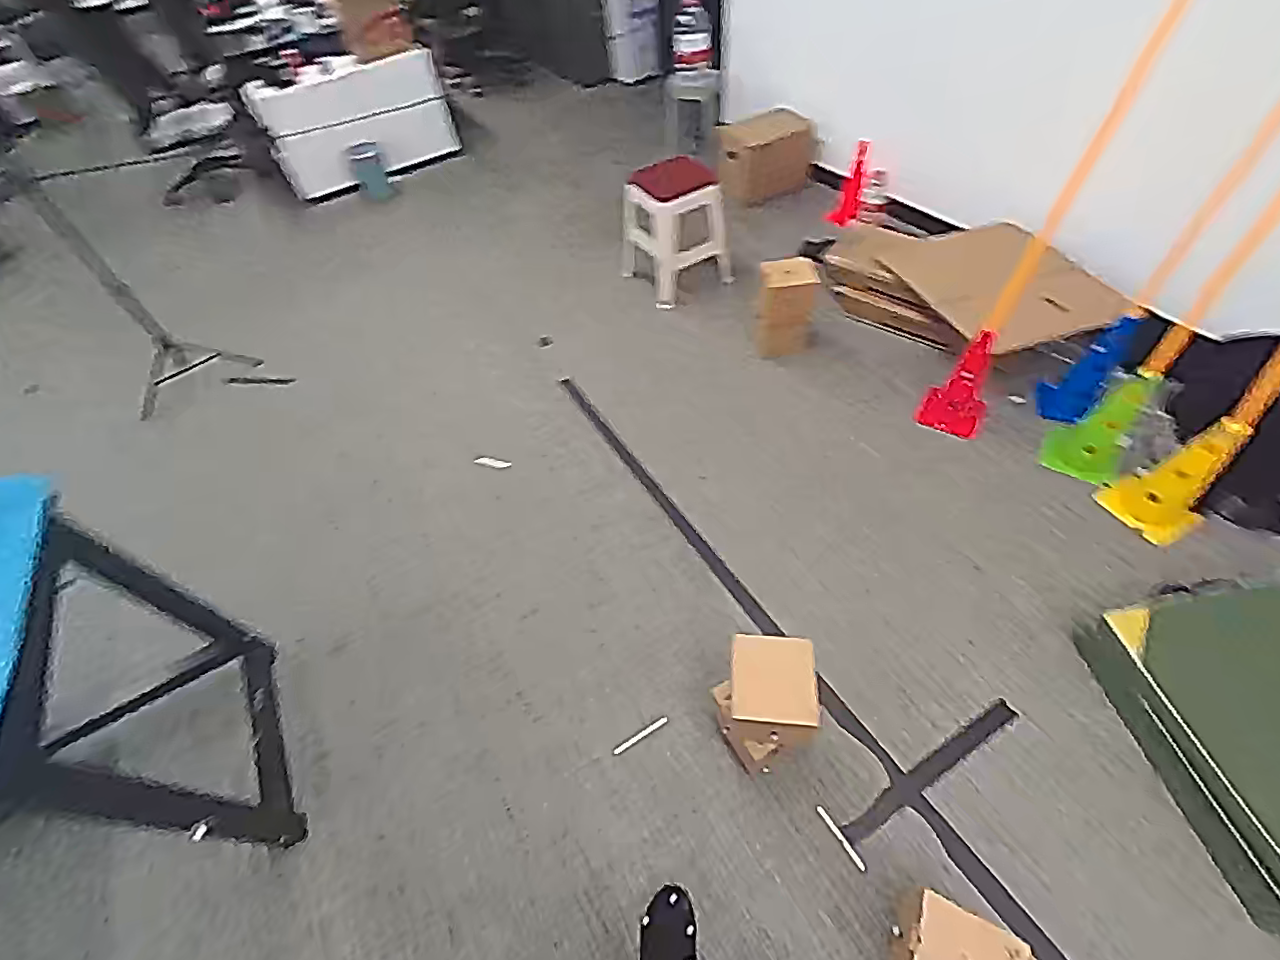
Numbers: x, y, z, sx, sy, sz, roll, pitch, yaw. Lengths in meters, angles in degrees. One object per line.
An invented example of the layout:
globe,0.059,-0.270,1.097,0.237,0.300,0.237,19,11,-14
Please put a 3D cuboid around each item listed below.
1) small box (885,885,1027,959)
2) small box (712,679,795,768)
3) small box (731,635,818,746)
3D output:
small box,0.574,0.893,1.003,0.179,0.176,0.168,21,59,22
small box,0.287,0.564,1.295,0.168,0.176,0.179,-26,53,-14
small box,0.282,0.455,1.167,0.168,0.176,0.179,2,51,8
